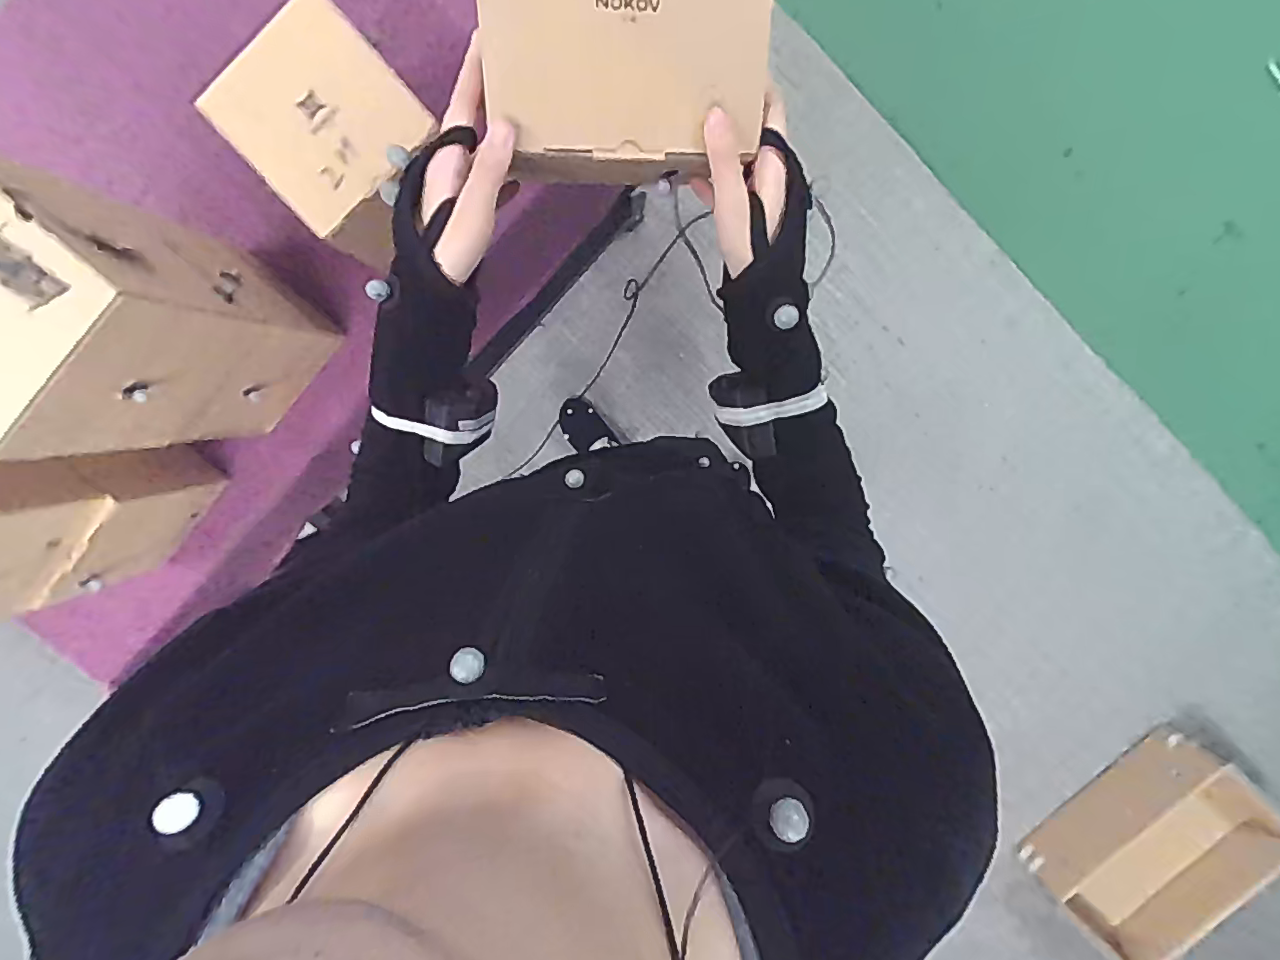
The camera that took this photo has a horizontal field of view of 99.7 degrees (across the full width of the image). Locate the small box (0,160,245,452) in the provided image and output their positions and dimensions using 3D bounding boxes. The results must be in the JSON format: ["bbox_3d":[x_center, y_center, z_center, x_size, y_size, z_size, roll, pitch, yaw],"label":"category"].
[{"bbox_3d":[-0.502,-0.148,0.475,0.168,0.176,0.179,43,97,-6],"label":"small box"}]

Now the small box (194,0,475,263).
[{"bbox_3d":[-0.320,-0.378,0.608,0.168,0.176,0.179,-41,97,6],"label":"small box"}]

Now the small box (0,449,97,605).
[{"bbox_3d":[-0.688,0.032,0.502,0.179,0.176,0.168,39,96,-5],"label":"small box"}]

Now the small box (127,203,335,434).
[{"bbox_3d":[-0.508,-0.175,0.637,0.168,0.176,0.179,42,96,-6],"label":"small box"}]
